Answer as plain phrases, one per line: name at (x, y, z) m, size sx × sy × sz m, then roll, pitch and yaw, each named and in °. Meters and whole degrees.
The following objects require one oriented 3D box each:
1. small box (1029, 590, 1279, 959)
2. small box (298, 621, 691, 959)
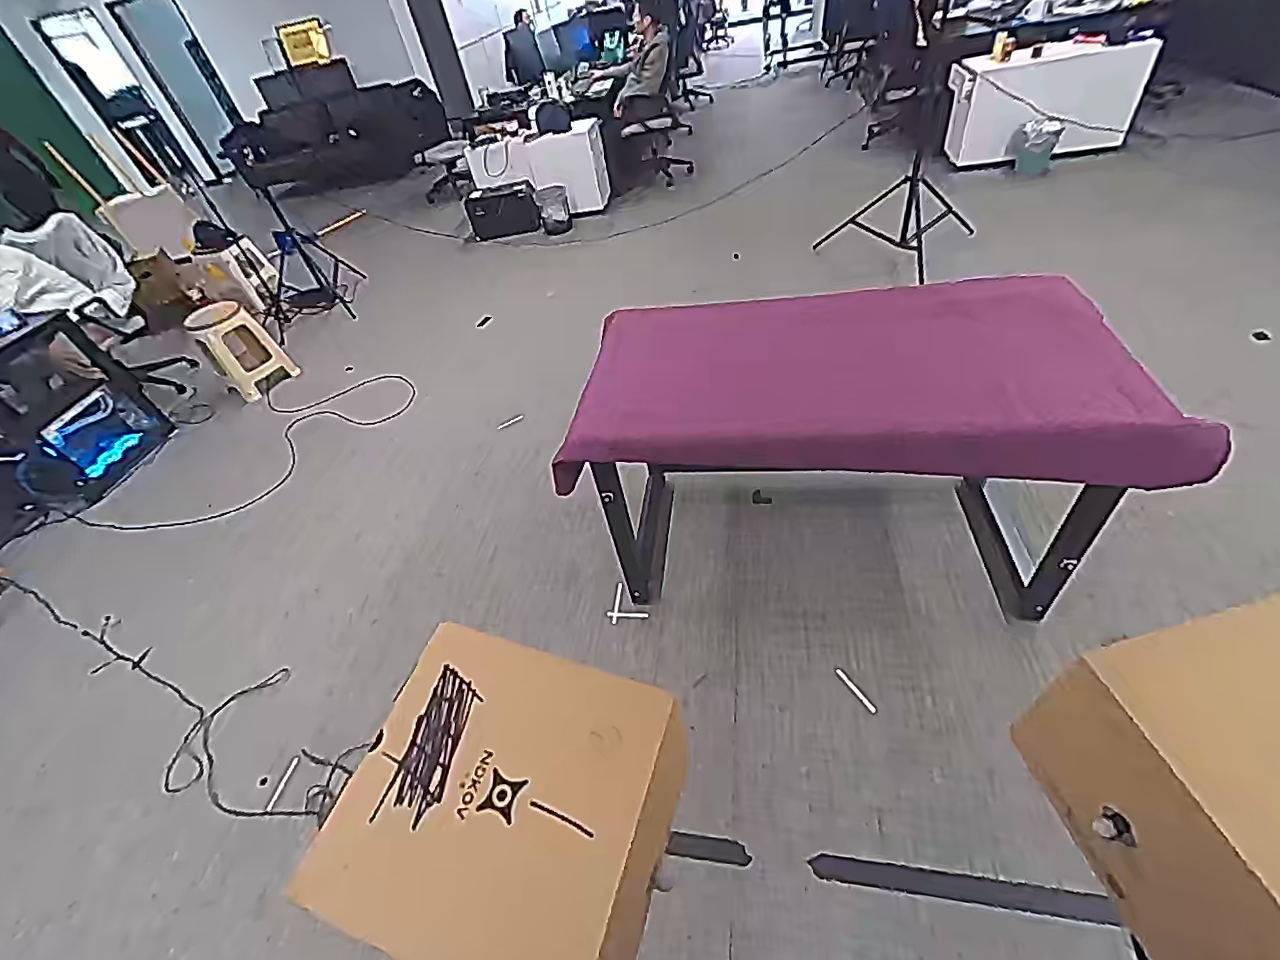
small box at (0.371, 0.180, 0.317) m, size 0.179 × 0.176 × 0.168 m, roll -18°, pitch 50°, yaw 2°
small box at (-0.071, 0.225, 0.374) m, size 0.179 × 0.176 × 0.168 m, roll 12°, pitch 55°, yaw 17°
